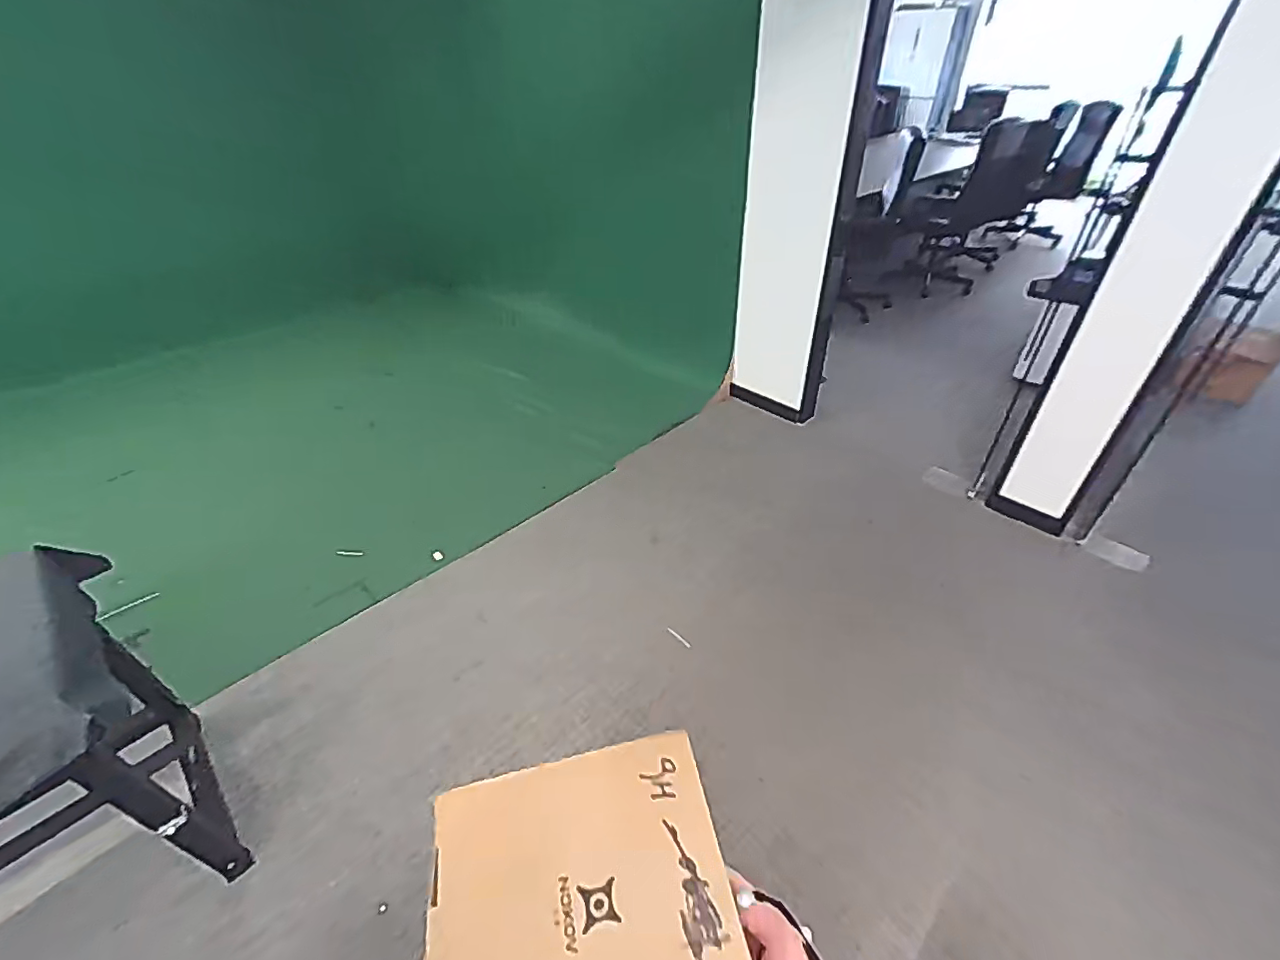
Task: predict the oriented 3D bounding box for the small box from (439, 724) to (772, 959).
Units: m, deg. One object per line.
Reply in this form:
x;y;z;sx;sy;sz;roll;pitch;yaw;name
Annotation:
-0.022;0.293;0.362;0.179;0.176;0.168;-10;49;-9;small box
